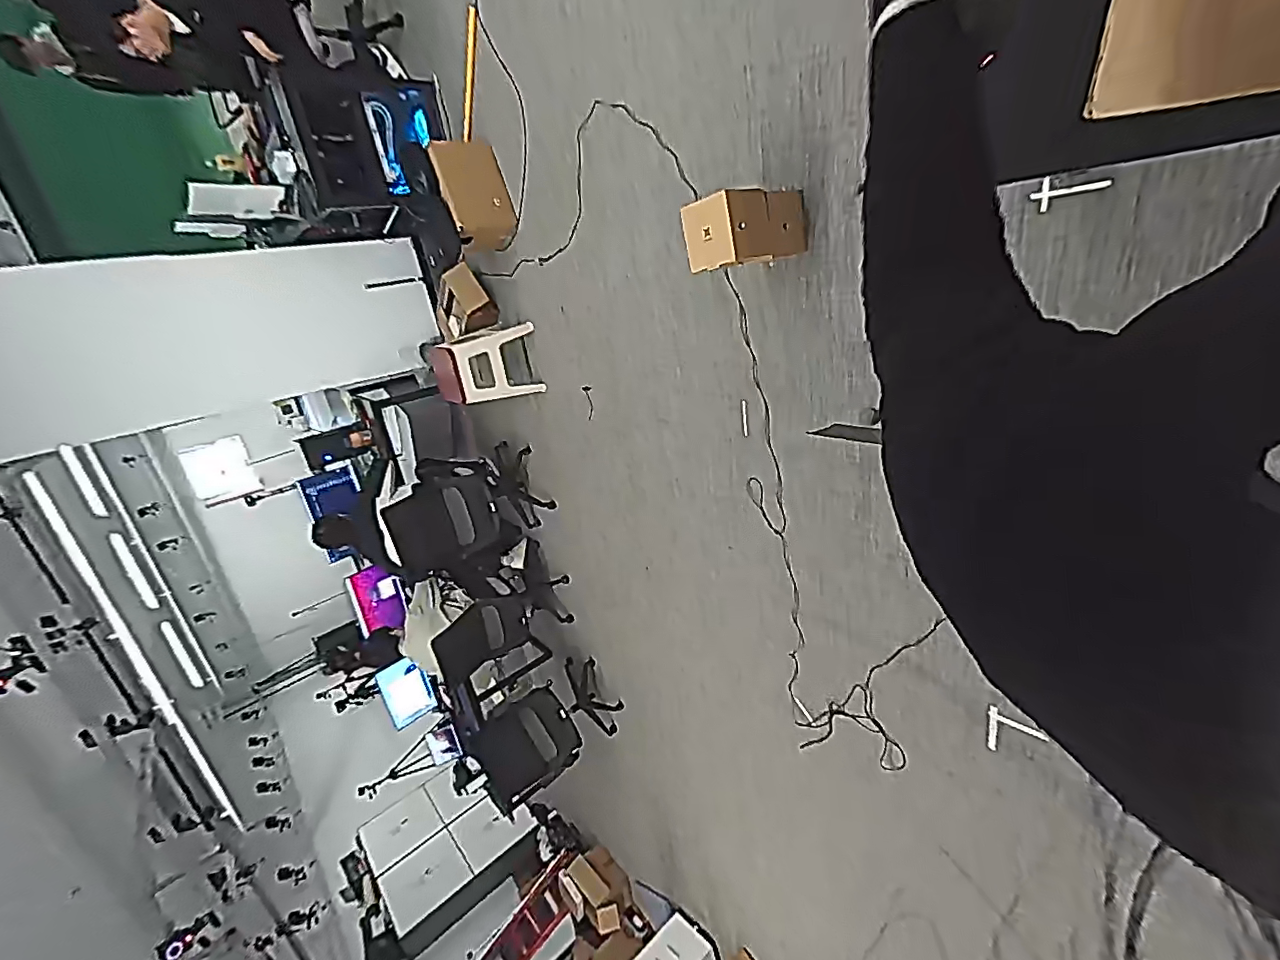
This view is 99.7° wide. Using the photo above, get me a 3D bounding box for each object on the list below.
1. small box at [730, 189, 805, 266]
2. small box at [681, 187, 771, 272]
[{"bbox_3d":[0.365,-0.741,1.585,0.168,0.176,0.179,12,120,49],"label":"small box"},{"bbox_3d":[0.242,-0.691,1.491,0.168,0.176,0.179,7,114,50],"label":"small box"}]
